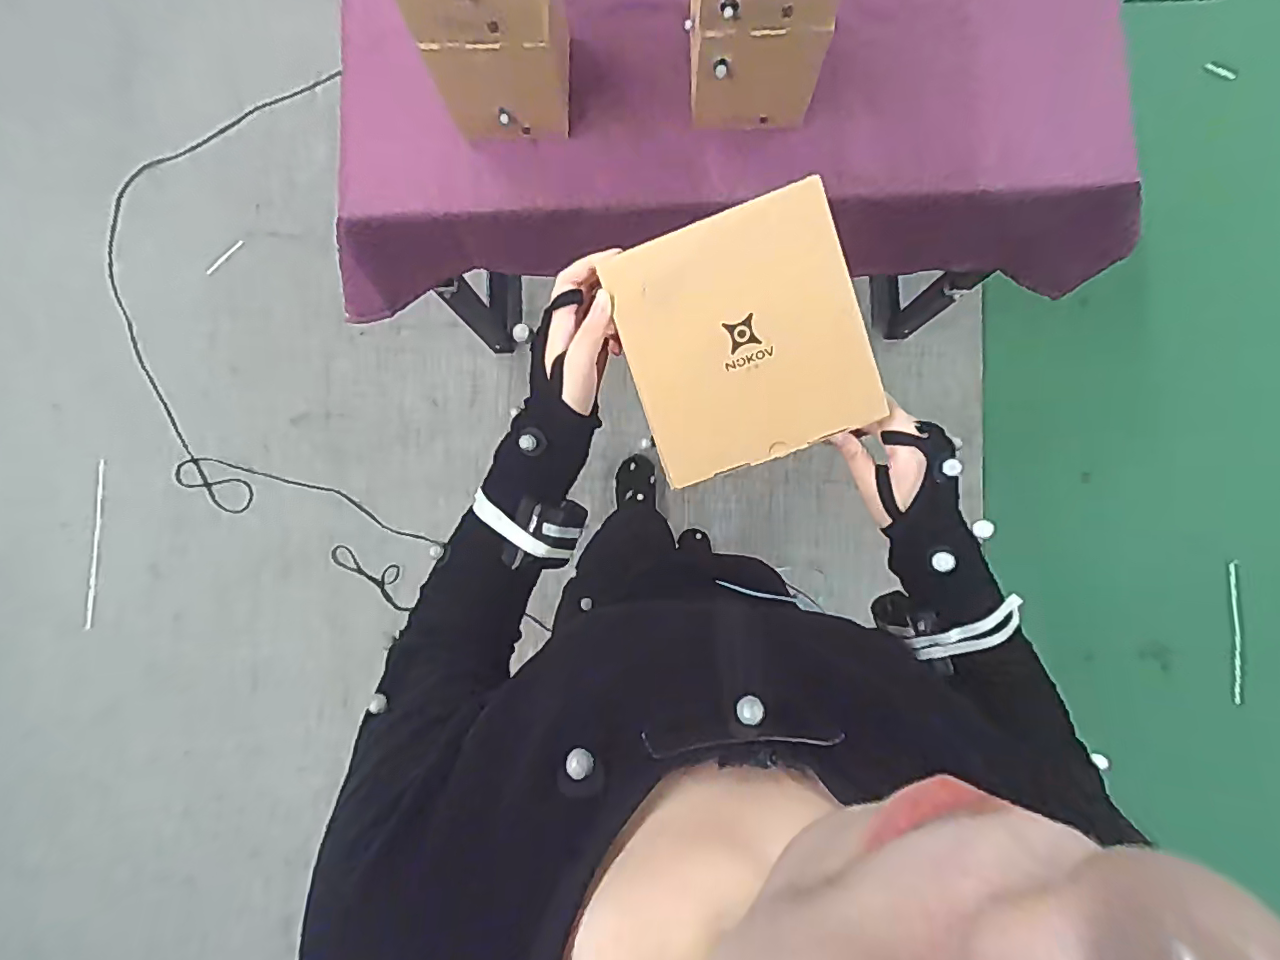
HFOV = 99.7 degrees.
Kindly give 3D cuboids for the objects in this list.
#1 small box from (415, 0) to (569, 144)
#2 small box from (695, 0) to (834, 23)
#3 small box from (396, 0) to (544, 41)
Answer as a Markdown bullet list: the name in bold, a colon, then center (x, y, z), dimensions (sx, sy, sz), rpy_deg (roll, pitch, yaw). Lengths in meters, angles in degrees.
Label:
- **small box**: center (-0.197, -0.613, 0.760), dimensions (0.168, 0.176, 0.179), rpy_deg (0, 85, 2)
- **small box**: center (0.145, -0.642, 0.586), dimensions (0.168, 0.176, 0.179), rpy_deg (-2, 84, 2)
- **small box**: center (-0.202, -0.630, 0.597), dimensions (0.168, 0.176, 0.179), rpy_deg (0, 85, 1)
